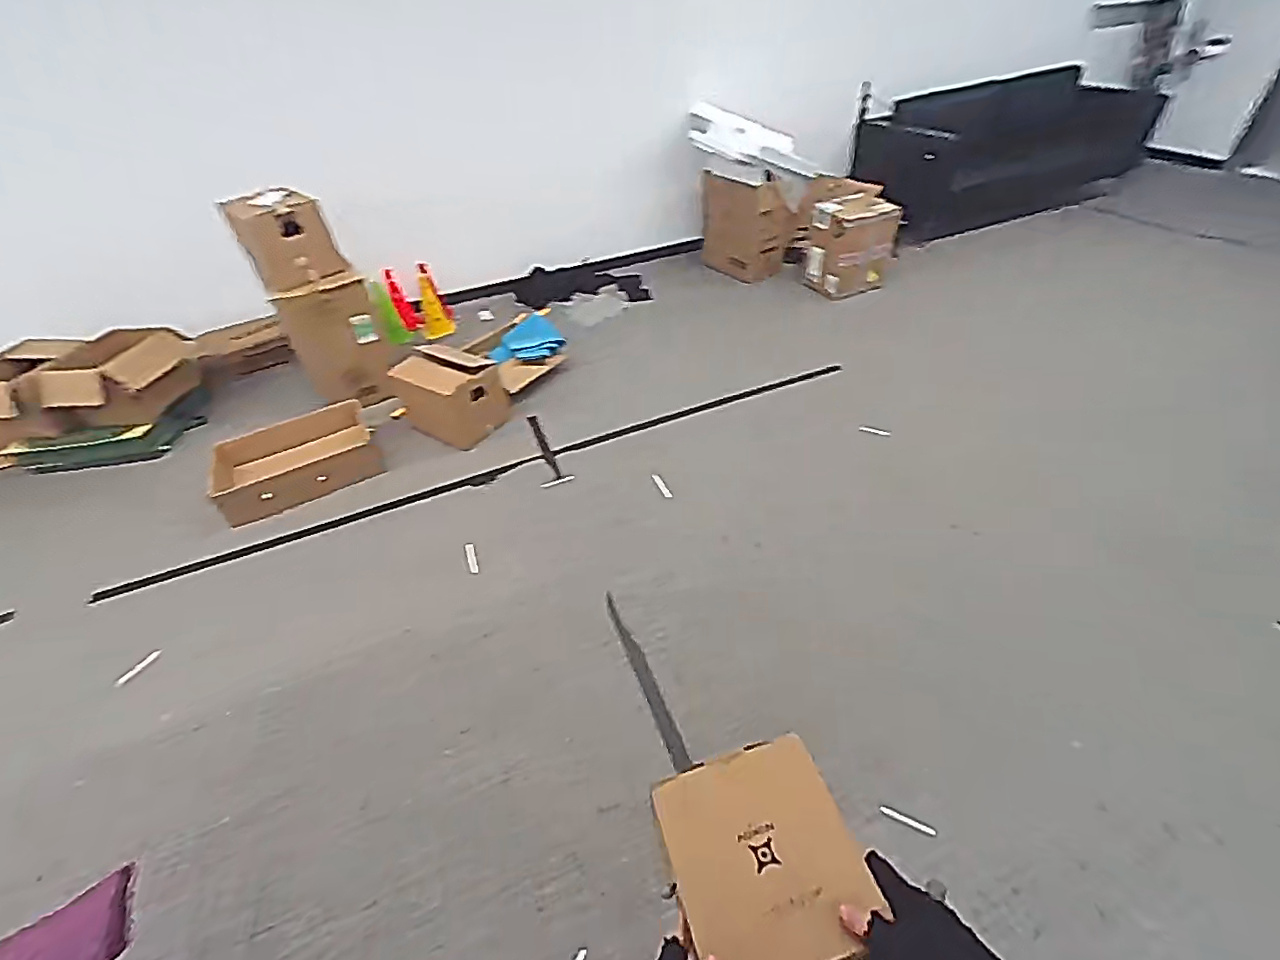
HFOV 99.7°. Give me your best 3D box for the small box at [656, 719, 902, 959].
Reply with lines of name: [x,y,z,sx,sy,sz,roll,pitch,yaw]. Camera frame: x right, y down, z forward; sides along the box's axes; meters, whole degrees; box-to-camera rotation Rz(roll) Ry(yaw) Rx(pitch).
small box: [0.120,0.380,0.541,0.168,0.176,0.179,-15,43,-9]
